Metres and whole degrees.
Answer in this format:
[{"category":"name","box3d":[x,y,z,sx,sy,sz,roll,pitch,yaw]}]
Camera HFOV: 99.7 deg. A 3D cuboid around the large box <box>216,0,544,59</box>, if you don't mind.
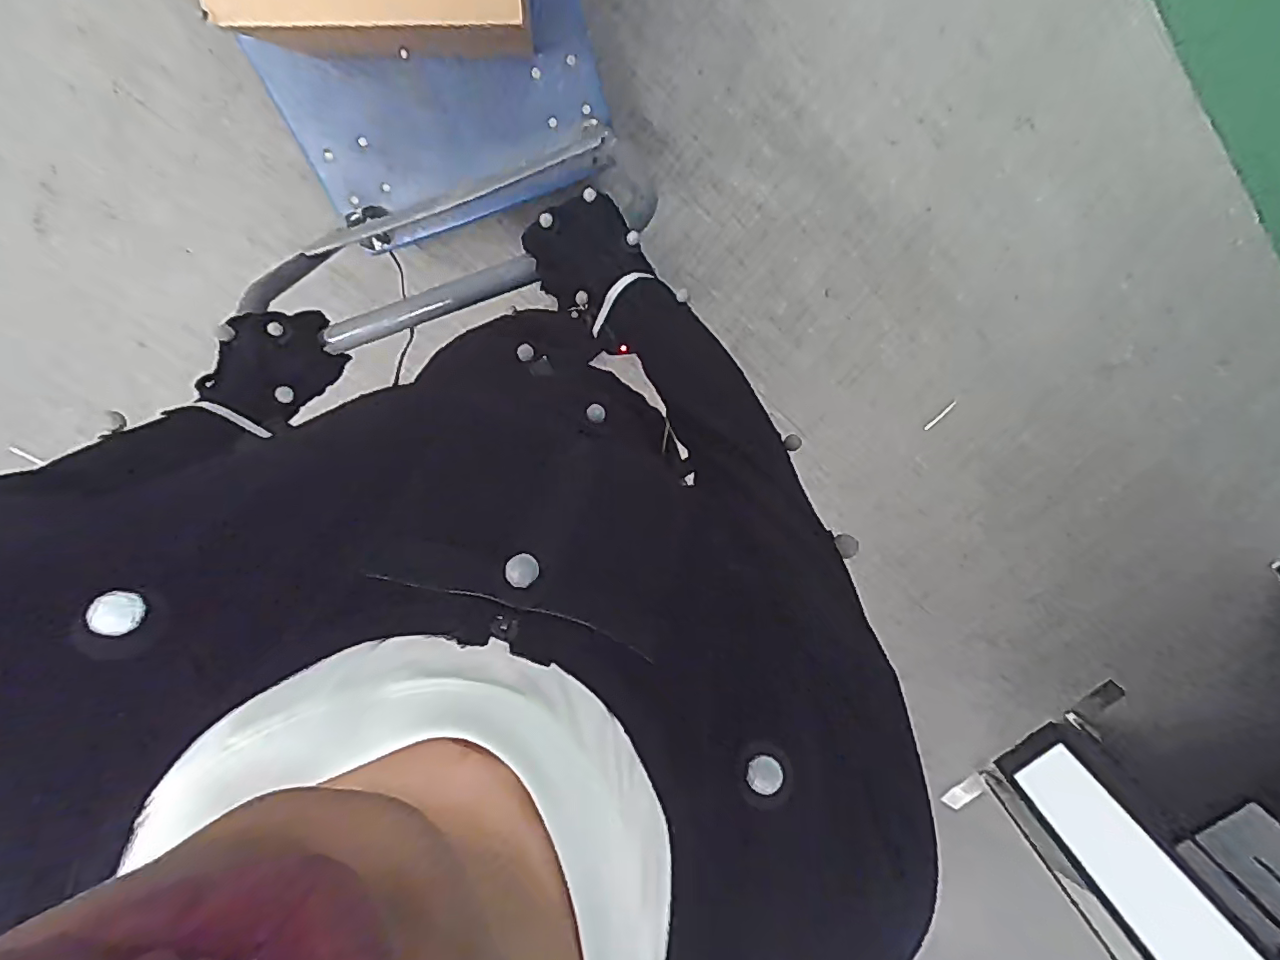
[{"category":"large box","box3d":[-0.363,-0.809,0.765,0.408,0.320,0.320,-4,122,-4]}]
